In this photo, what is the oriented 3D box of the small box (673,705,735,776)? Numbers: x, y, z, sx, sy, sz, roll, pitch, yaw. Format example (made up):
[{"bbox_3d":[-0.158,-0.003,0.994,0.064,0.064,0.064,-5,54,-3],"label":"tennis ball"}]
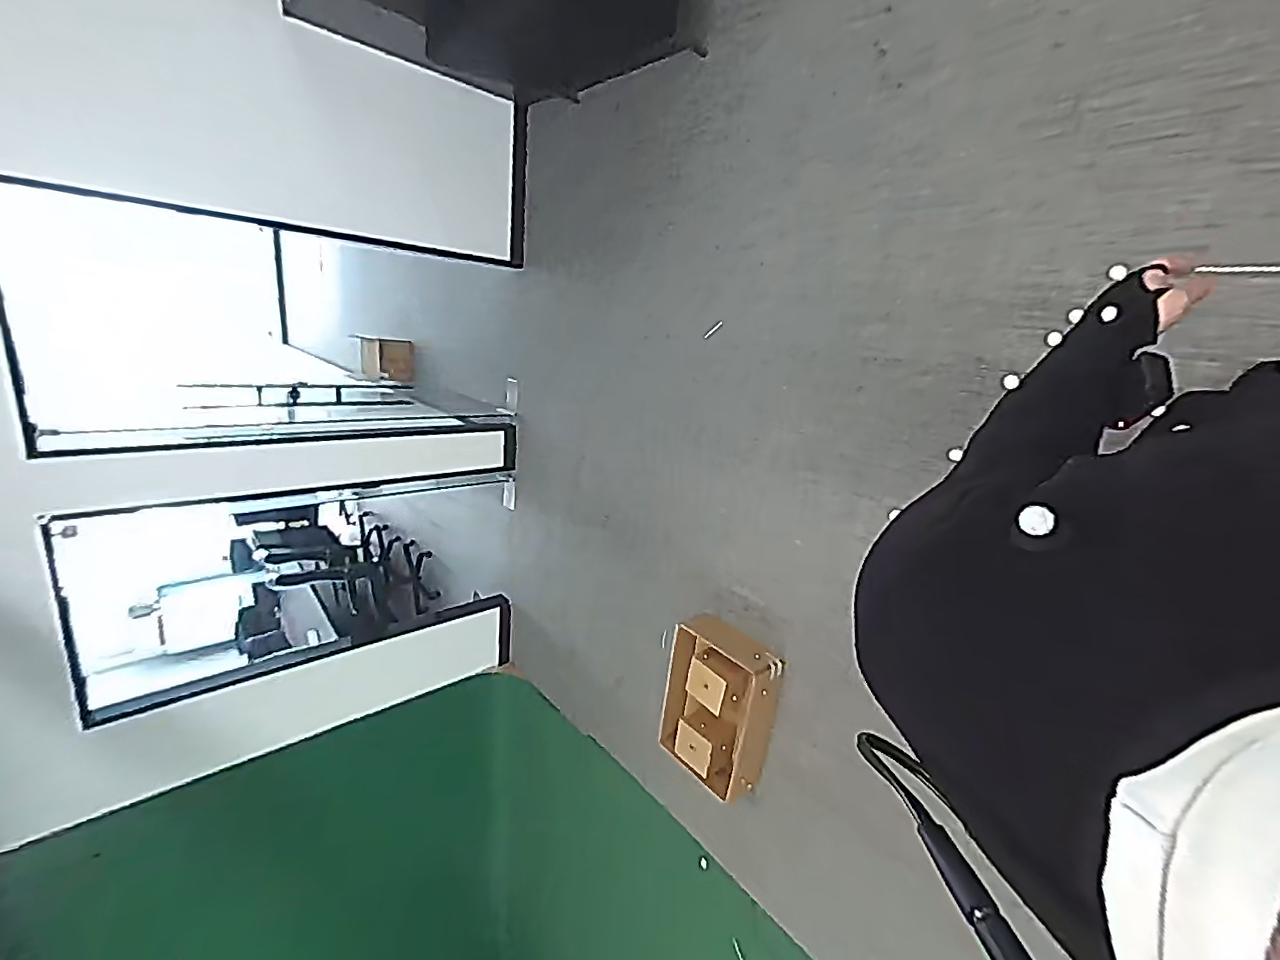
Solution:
[{"bbox_3d":[0.262,1.054,2.205,0.179,0.176,0.168,24,112,45],"label":"small box"}]

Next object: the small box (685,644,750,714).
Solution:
[{"bbox_3d":[0.305,0.770,2.116,0.179,0.176,0.168,28,117,43],"label":"small box"}]
